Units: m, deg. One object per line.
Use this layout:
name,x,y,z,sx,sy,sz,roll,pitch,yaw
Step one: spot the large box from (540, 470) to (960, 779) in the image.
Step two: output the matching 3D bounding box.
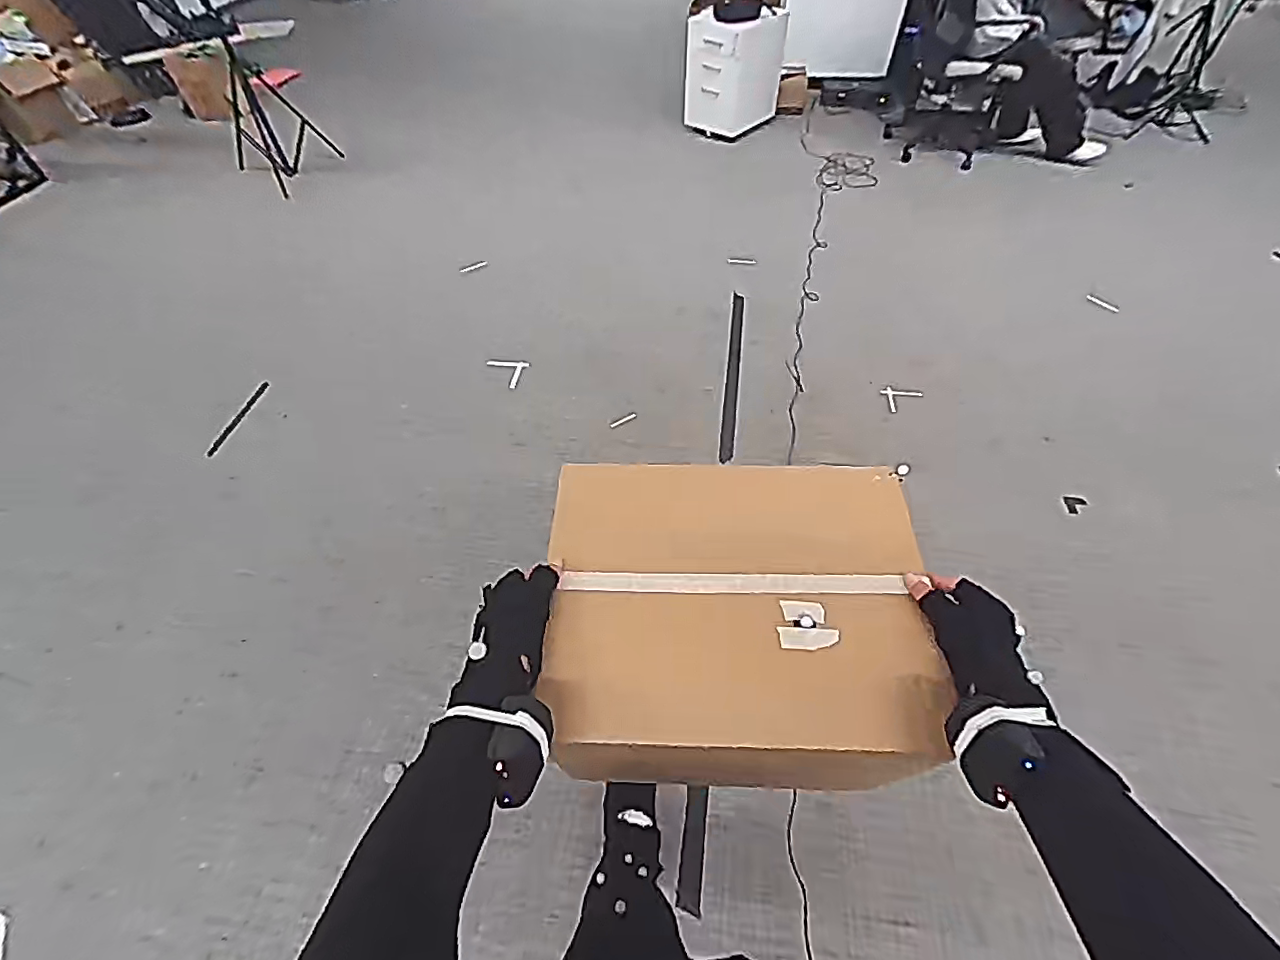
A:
large box,0.105,0.200,0.711,0.408,0.320,0.320,0,56,2
